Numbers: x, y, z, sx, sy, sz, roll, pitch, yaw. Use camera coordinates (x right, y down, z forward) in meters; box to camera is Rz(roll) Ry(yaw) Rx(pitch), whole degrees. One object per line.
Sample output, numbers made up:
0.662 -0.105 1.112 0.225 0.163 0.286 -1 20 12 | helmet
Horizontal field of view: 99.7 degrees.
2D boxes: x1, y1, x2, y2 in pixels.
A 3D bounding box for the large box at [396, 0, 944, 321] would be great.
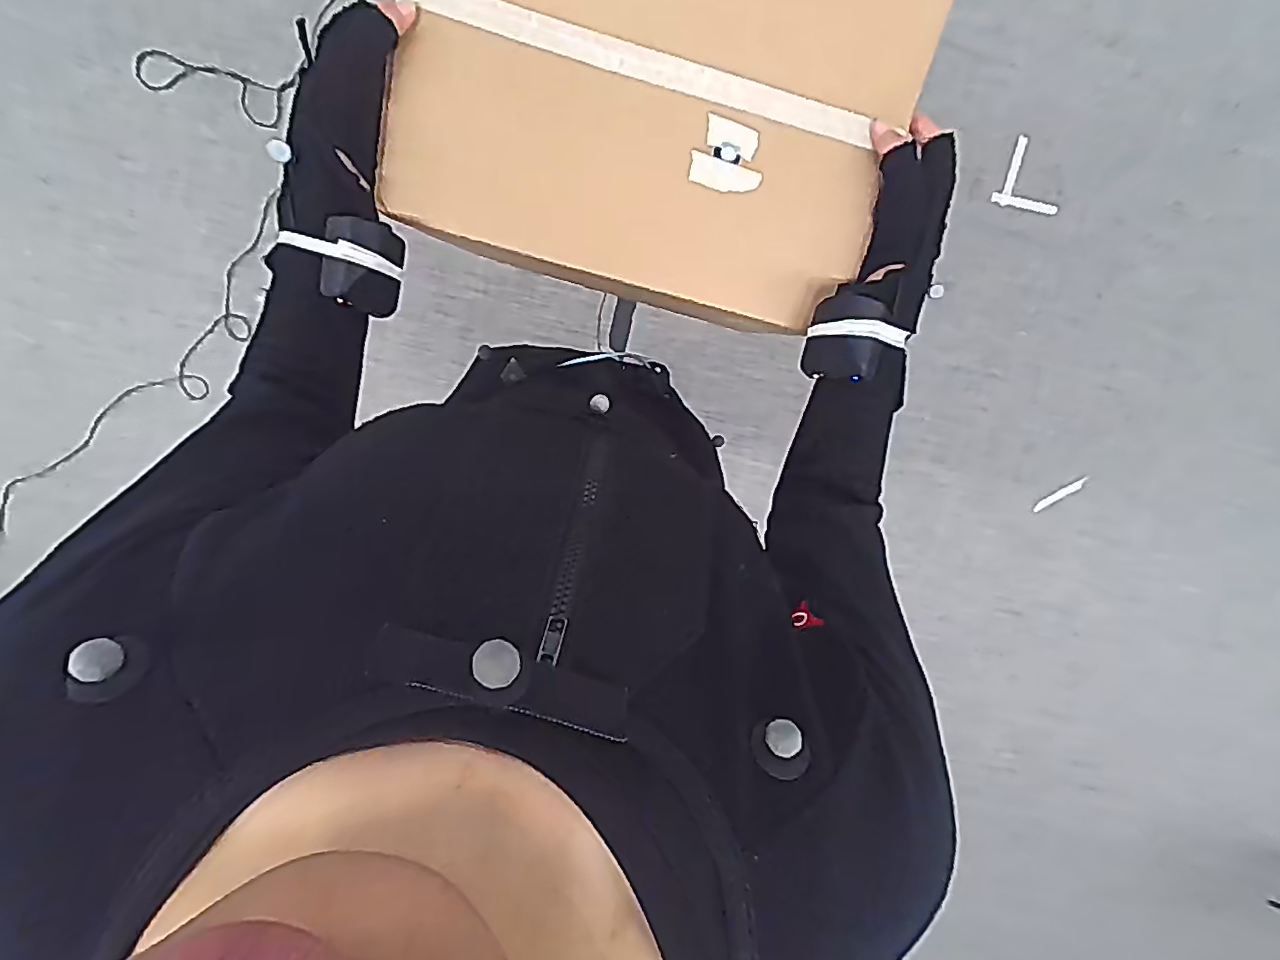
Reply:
0.014 -0.369 0.570 0.408 0.320 0.320 13 107 -7 | large box
